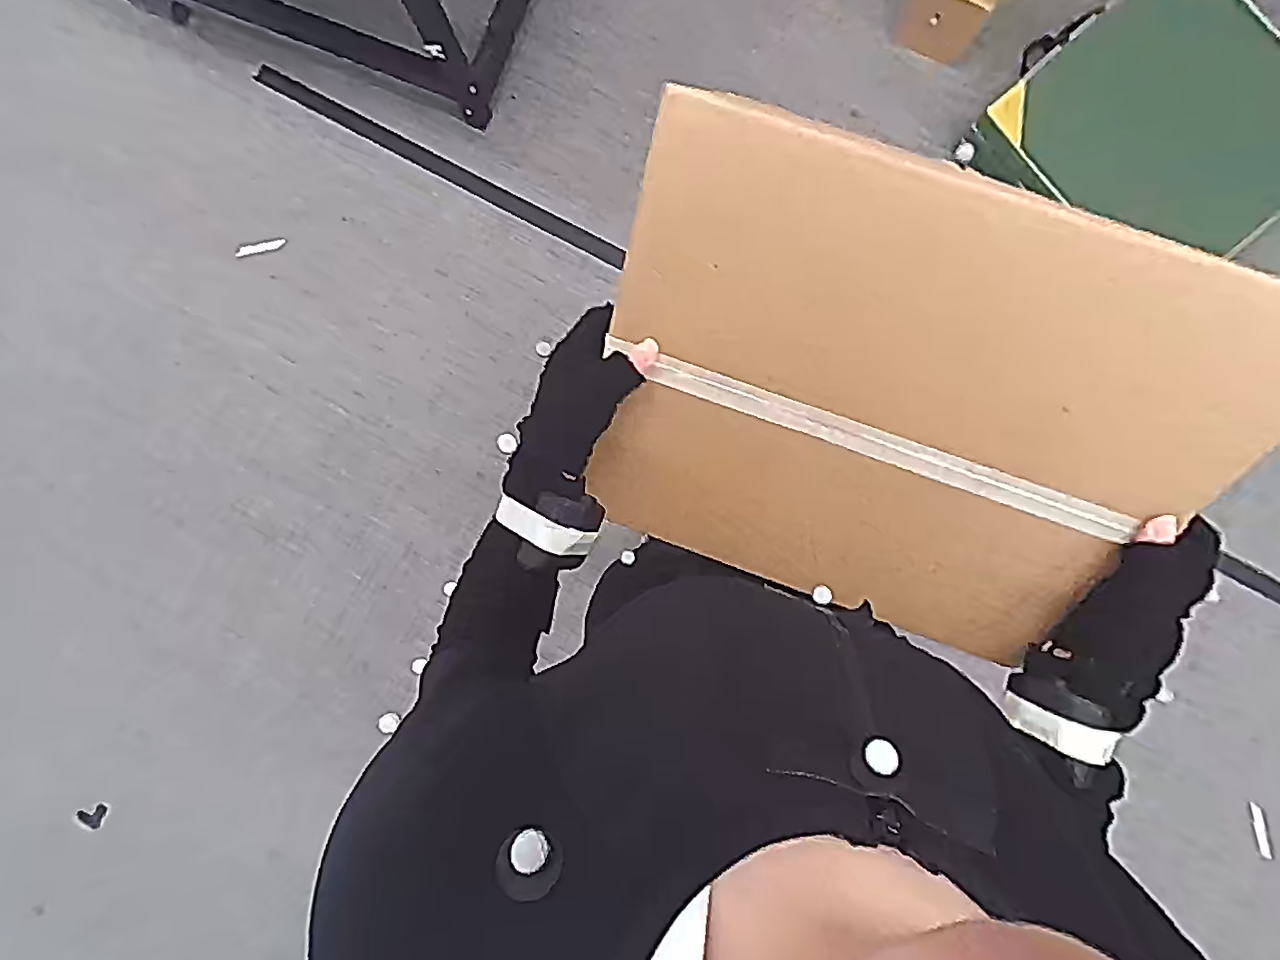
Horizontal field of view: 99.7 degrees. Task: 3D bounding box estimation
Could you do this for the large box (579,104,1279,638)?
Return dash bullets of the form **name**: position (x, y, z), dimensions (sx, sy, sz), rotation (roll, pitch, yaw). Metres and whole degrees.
- **large box**: position (0.200, -0.120, 0.513), dimensions (0.408, 0.320, 0.320), rotation (20, 127, 2)
